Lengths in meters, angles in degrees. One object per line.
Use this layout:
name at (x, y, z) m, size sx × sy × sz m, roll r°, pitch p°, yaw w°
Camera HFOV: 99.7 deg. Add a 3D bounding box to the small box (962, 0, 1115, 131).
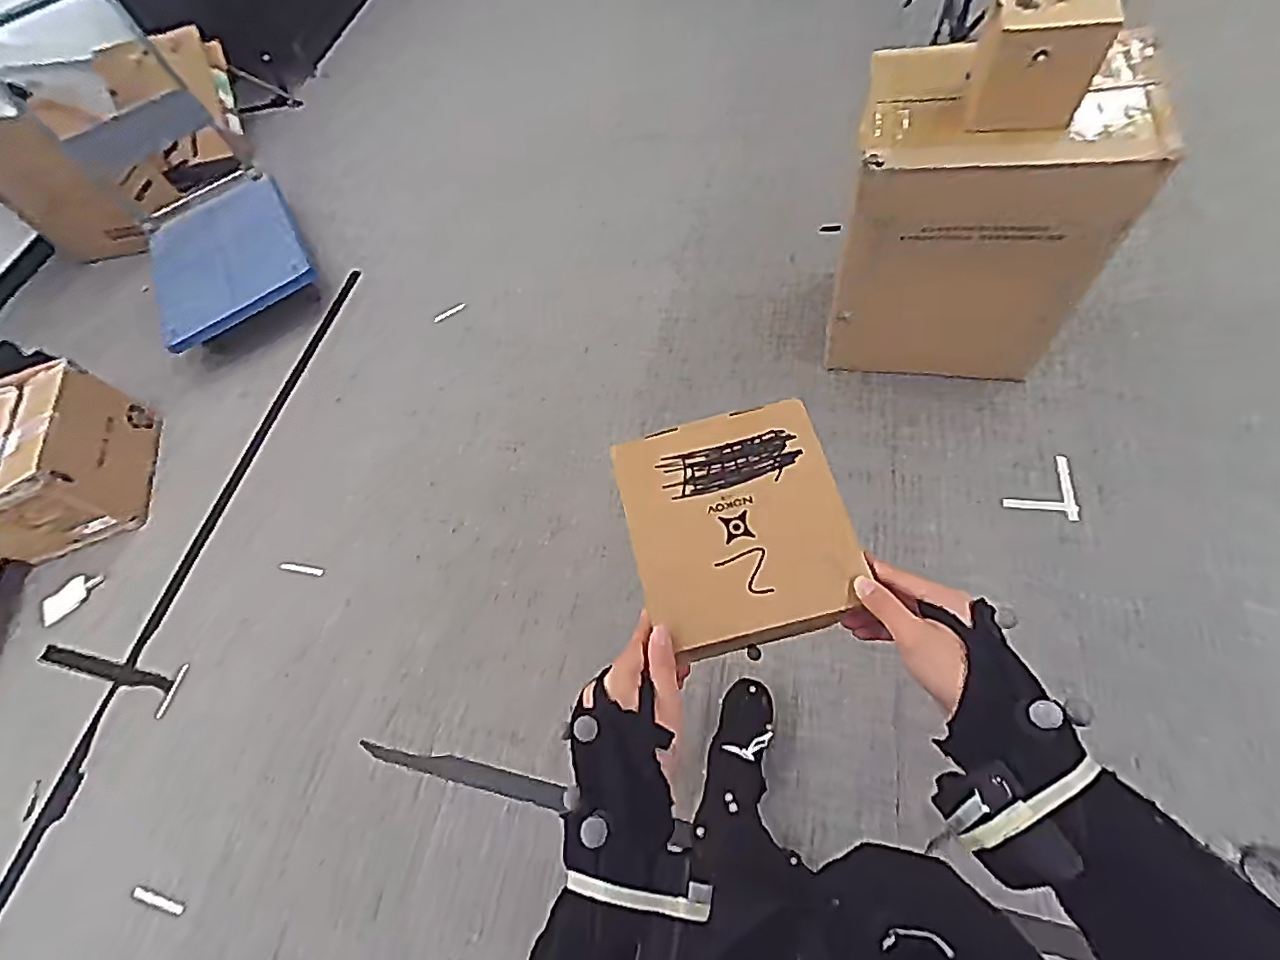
small box at (0.703, -0.765, 0.981) m, size 0.179 × 0.176 × 0.168 m, roll 7°, pitch 65°, yaw 15°
